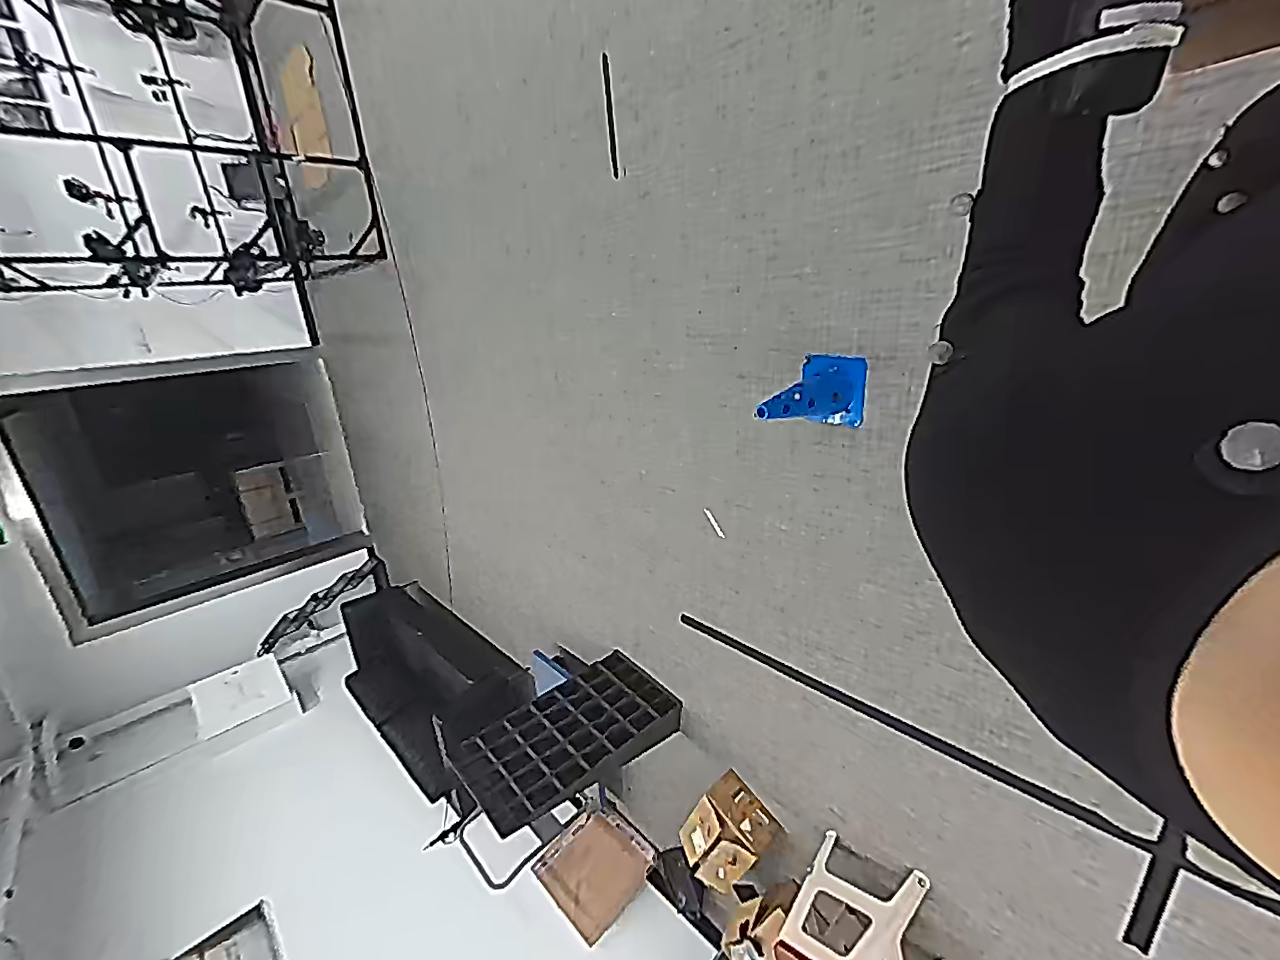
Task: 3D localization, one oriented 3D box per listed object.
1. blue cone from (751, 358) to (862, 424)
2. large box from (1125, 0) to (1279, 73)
[{"bbox_3d":[0.447,-0.223,1.514,0.192,0.380,0.193,20,120,45],"label":"blue cone"},{"bbox_3d":[0.527,-0.465,0.256,0.408,0.320,0.320,11,119,45],"label":"large box"}]
